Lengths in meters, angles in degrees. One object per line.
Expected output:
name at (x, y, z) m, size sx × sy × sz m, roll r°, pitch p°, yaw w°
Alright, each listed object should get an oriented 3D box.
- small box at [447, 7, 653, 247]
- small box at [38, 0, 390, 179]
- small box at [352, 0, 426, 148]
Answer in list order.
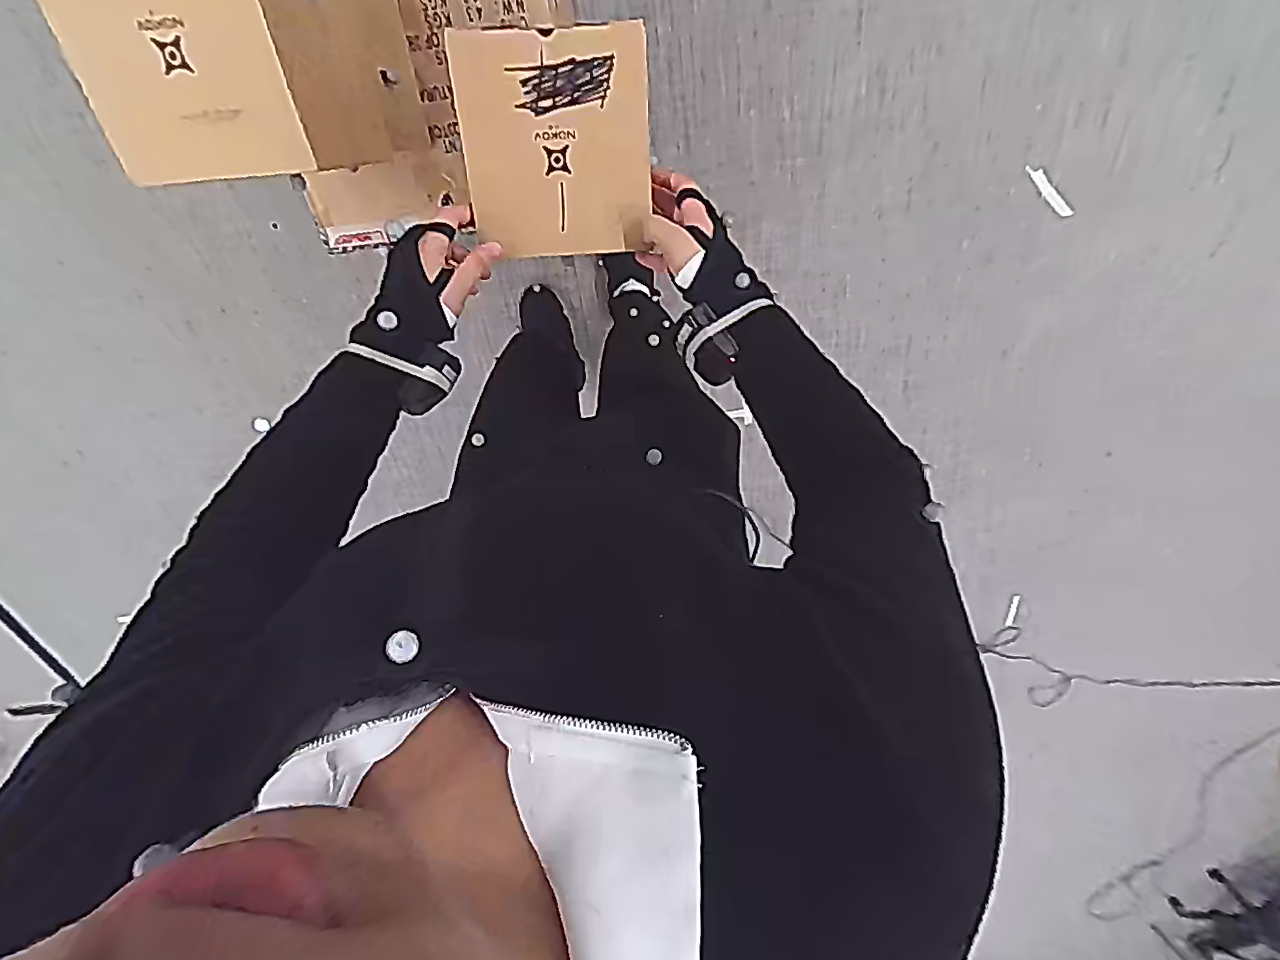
small box at (-0.079, -0.335, 0.544) m, size 0.168 × 0.176 × 0.179 m, roll -5°, pitch 116°, yaw -3°
small box at (-0.350, -0.372, 0.469) m, size 0.168 × 0.176 × 0.179 m, roll -3°, pitch 124°, yaw 3°
small box at (-0.362, -0.466, 0.602) m, size 0.168 × 0.176 × 0.179 m, roll -4°, pitch 124°, yaw 2°
